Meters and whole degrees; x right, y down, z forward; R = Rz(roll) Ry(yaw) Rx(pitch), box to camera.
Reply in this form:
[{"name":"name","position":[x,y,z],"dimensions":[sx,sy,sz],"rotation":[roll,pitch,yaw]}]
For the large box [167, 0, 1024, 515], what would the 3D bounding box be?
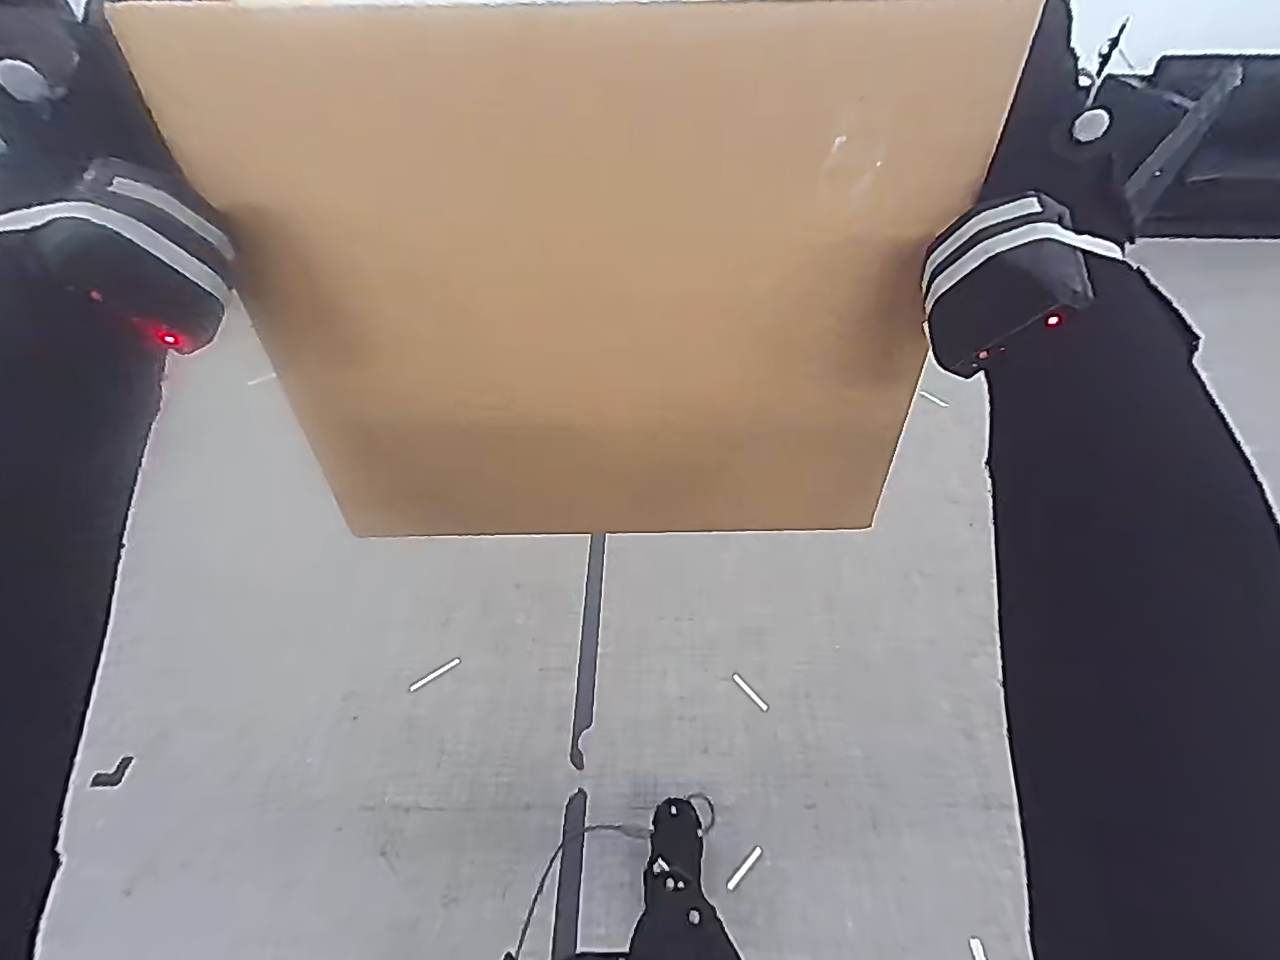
[{"name":"large box","position":[-0.021,-0.183,0.453],"dimensions":[0.408,0.320,0.320],"rotation":[0,38,-1]}]
